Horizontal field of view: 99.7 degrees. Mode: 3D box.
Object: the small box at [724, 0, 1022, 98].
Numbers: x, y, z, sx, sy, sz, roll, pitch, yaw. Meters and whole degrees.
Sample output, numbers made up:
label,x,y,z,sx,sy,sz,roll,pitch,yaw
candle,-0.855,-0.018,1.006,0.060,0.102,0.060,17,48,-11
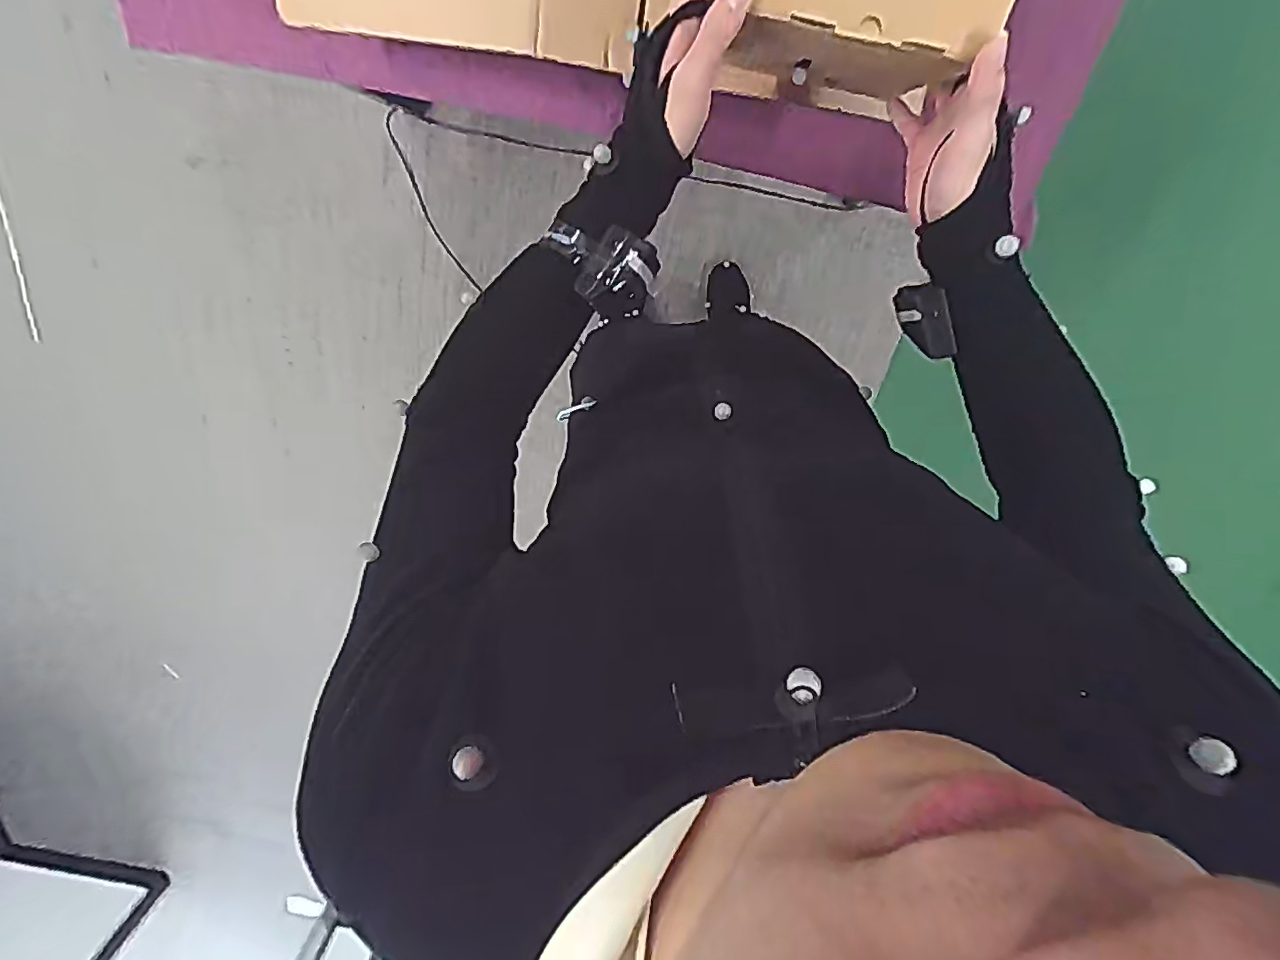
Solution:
label,x,y,z,sx,sy,sz,roll,pitch,yaw
small box,0.162,-0.390,0.370,0.168,0.176,0.179,9,120,-5
